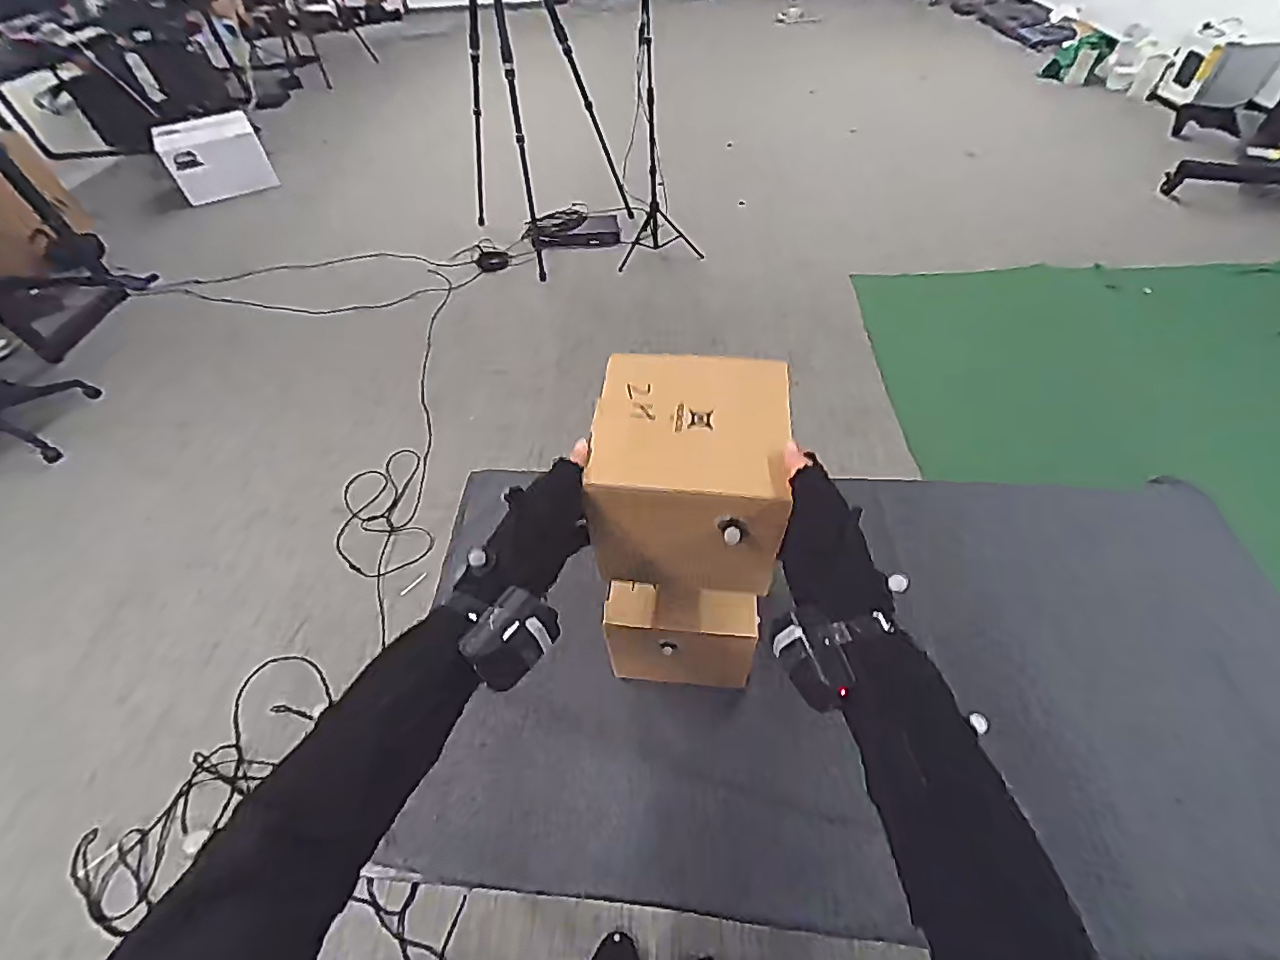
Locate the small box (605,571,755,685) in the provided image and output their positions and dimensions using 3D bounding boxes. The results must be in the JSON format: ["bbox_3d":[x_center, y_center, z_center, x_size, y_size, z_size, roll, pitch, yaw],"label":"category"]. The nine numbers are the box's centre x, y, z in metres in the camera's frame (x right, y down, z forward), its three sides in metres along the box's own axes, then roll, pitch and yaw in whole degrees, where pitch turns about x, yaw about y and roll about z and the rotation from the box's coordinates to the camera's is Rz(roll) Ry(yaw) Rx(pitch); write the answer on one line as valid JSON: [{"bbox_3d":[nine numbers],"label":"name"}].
[{"bbox_3d":[0.056,0.162,0.727,0.179,0.176,0.168,4,50,5],"label":"small box"}]

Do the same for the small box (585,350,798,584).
[{"bbox_3d":[0.053,-0.008,0.548,0.179,0.176,0.168,5,52,6],"label":"small box"}]
